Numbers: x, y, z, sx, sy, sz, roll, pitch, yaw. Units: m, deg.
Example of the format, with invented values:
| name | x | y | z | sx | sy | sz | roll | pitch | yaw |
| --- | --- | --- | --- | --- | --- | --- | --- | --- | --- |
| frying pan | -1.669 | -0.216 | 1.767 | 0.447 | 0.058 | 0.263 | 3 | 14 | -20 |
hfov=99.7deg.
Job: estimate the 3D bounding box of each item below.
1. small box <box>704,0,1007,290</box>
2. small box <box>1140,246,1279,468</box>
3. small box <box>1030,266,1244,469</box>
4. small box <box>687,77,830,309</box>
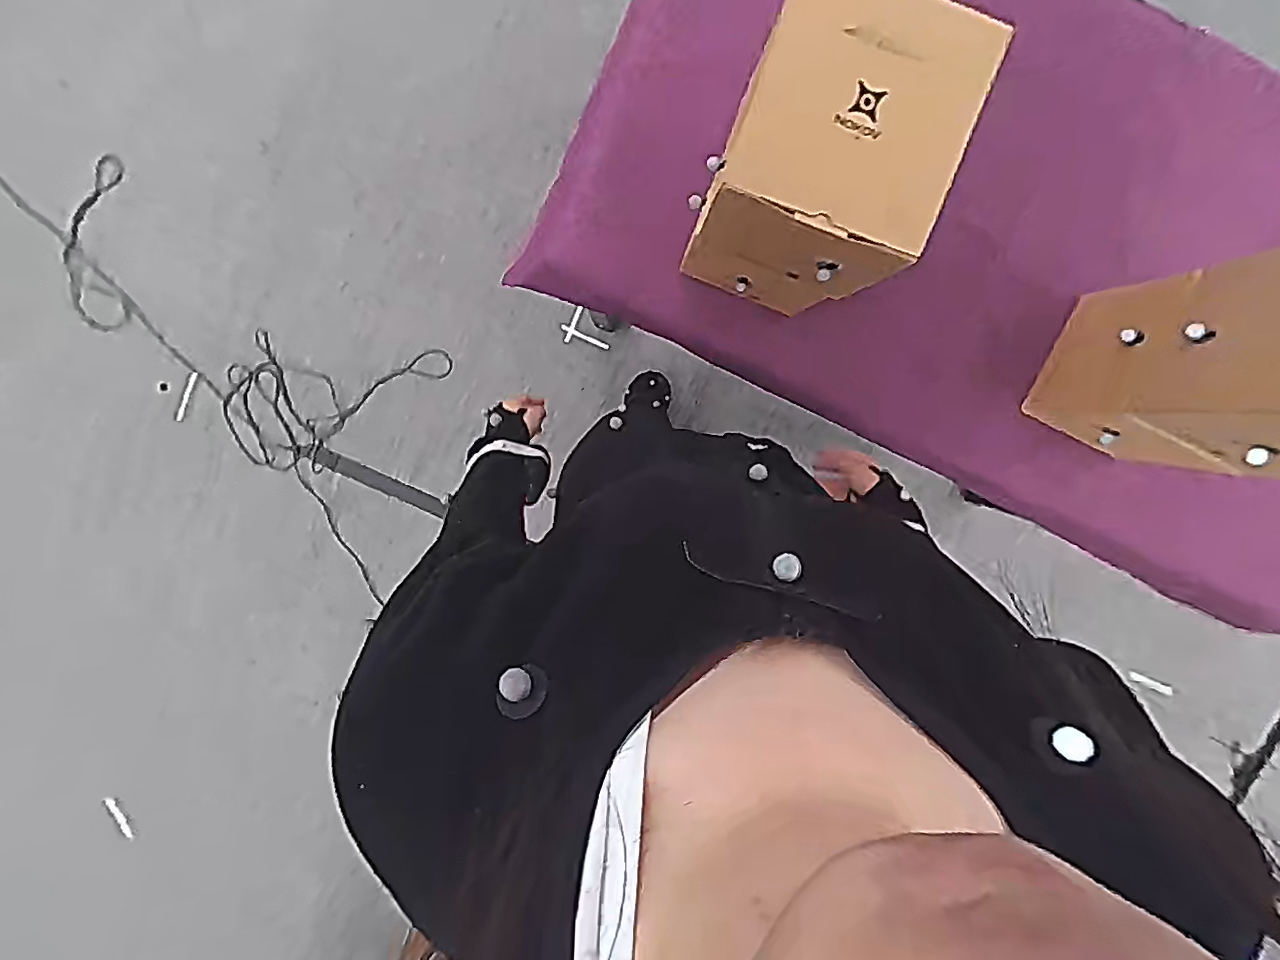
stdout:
| name | x | y | z | sx | sy | sz | roll | pitch | yaw |
| --- | --- | --- | --- | --- | --- | --- | --- | --- | --- |
| small box | 0.164 | -0.289 | 0.480 | 0.168 | 0.176 | 0.179 | 18 | 97 | -5 |
| small box | 0.649 | -0.113 | 0.517 | 0.168 | 0.176 | 0.179 | 25 | 97 | -4 |
| small box | 0.644 | -0.133 | 0.680 | 0.168 | 0.176 | 0.179 | 24 | 97 | -4 |
| small box | 0.162 | -0.320 | 0.639 | 0.168 | 0.176 | 0.179 | 20 | 97 | -5 |
